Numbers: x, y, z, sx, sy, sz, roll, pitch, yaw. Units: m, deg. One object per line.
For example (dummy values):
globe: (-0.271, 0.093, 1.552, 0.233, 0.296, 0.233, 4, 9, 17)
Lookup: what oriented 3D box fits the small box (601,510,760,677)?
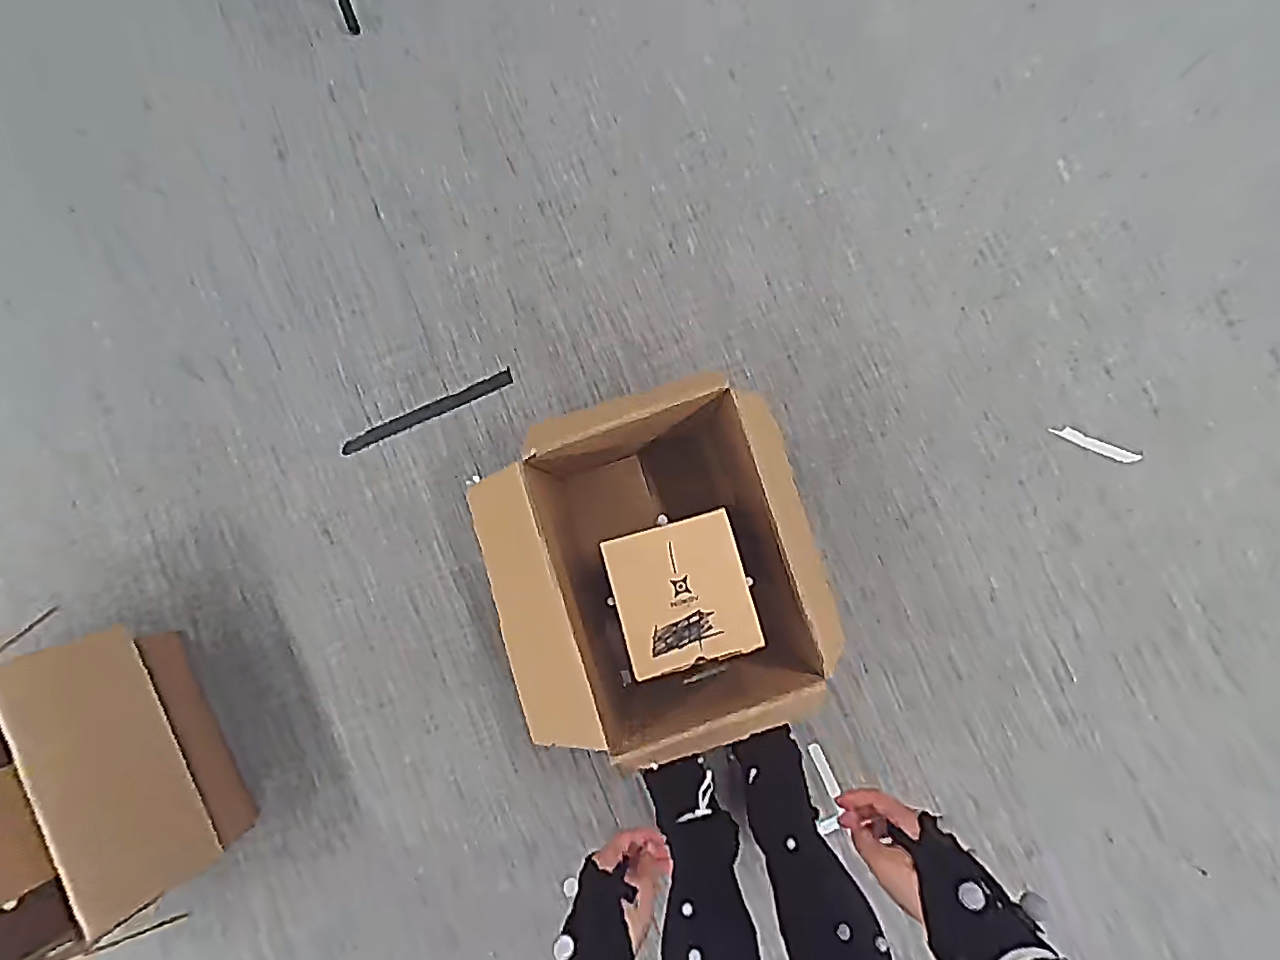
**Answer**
small box: (0.052, 0.149, 0.750, 0.168, 0.176, 0.179, -15, 83, -2)
